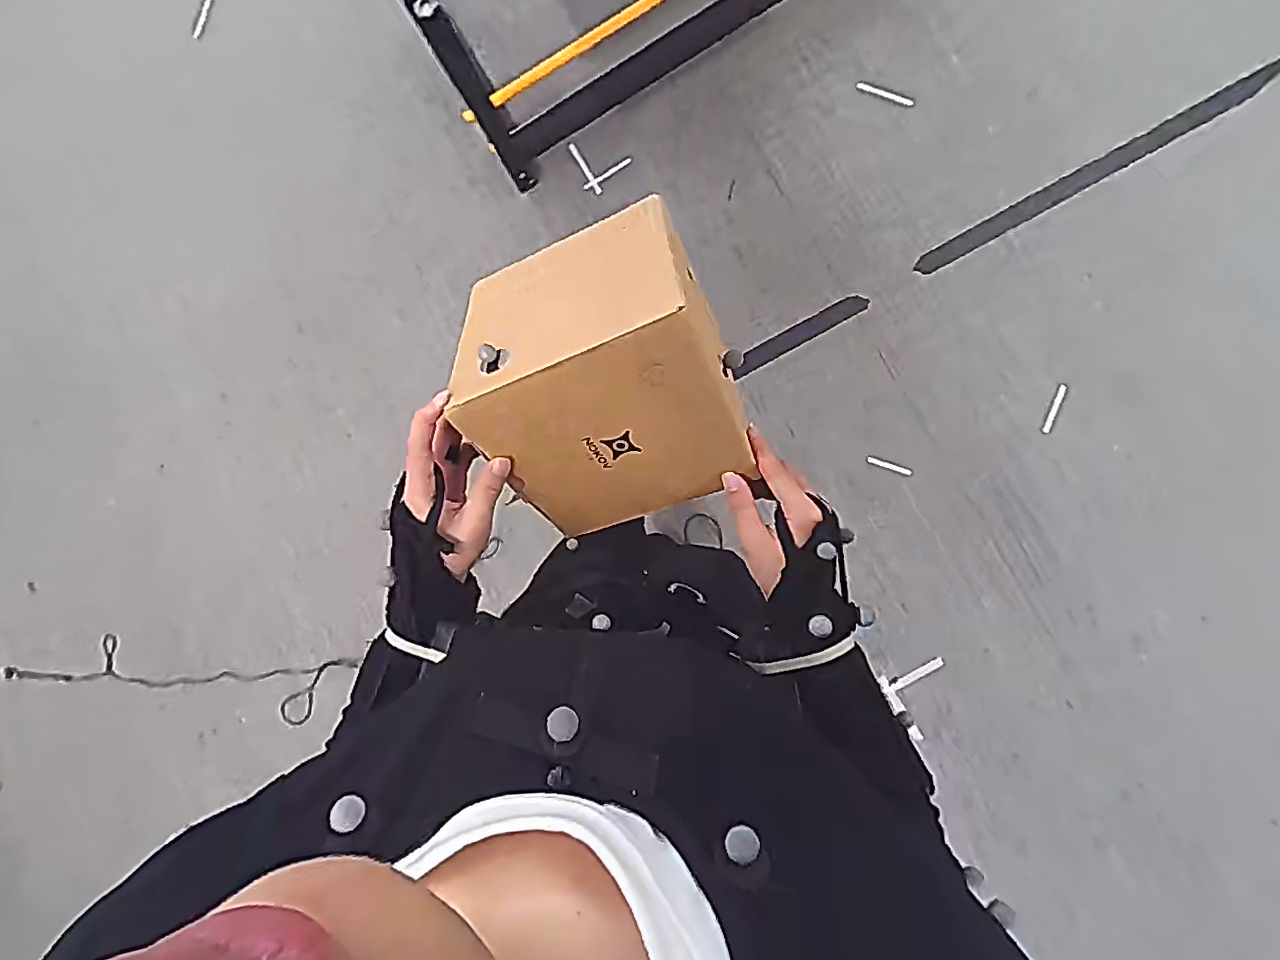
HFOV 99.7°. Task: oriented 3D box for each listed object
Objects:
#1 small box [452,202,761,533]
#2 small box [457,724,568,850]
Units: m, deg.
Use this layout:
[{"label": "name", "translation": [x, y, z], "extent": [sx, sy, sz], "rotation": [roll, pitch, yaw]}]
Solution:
[{"label": "small box", "translation": [-0.020, -0.088, 0.438], "extent": [0.179, 0.168, 0.176], "rotation": [-18, 47, 16]}, {"label": "small box", "translation": [-0.302, 0.737, 1.316], "extent": [0.179, 0.176, 0.168], "rotation": [-36, 87, 4]}]
